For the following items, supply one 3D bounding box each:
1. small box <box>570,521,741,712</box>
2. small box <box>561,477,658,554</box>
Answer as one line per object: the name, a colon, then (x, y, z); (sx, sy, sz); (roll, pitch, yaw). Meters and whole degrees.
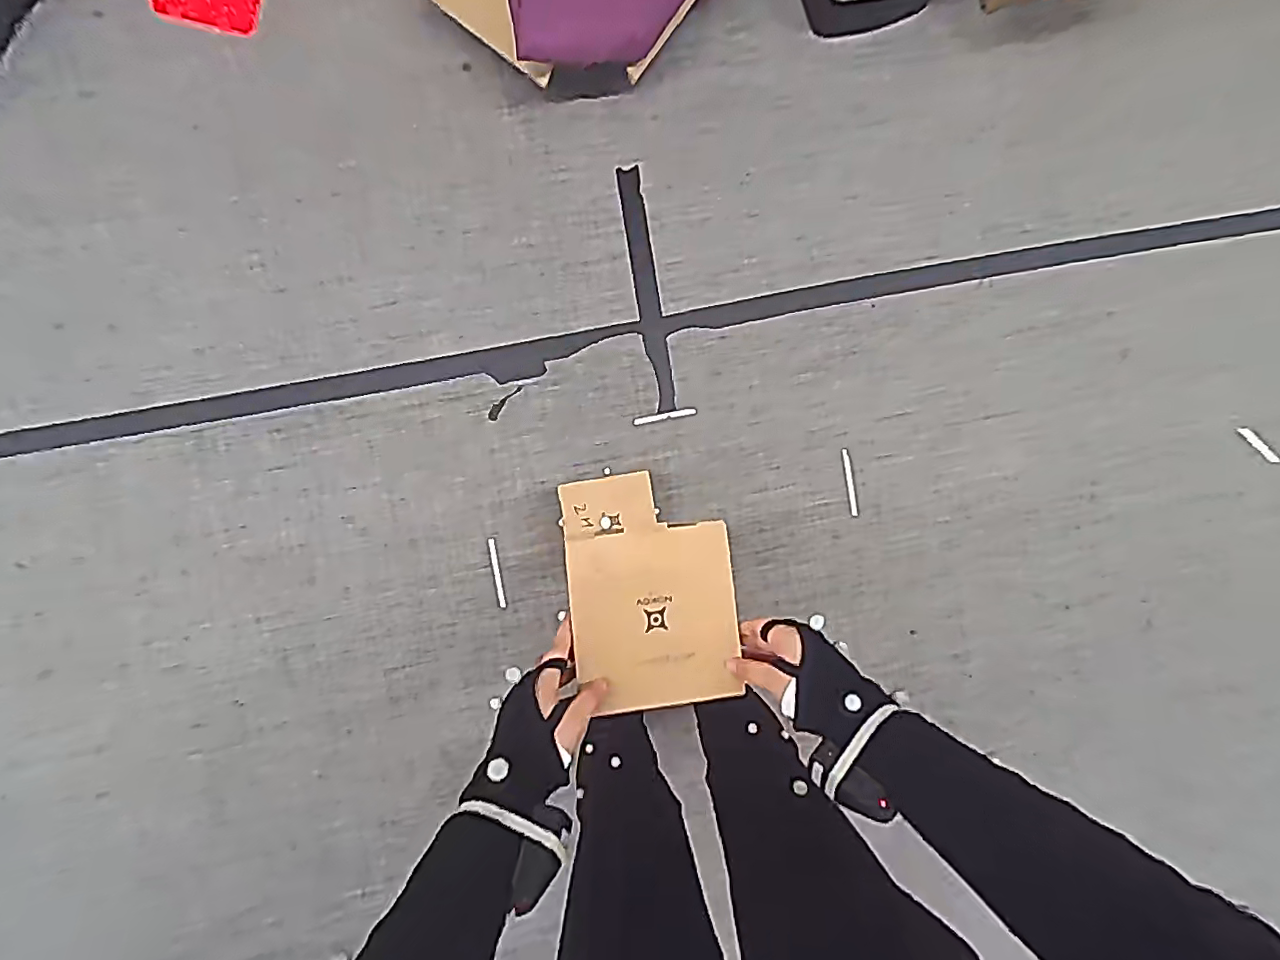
small box: (0.006, 0.143, 0.627); (0.168, 0.176, 0.179); (-6, 87, -6)
small box: (-0.059, 0.086, 1.094); (0.179, 0.176, 0.168); (-9, 92, -4)
